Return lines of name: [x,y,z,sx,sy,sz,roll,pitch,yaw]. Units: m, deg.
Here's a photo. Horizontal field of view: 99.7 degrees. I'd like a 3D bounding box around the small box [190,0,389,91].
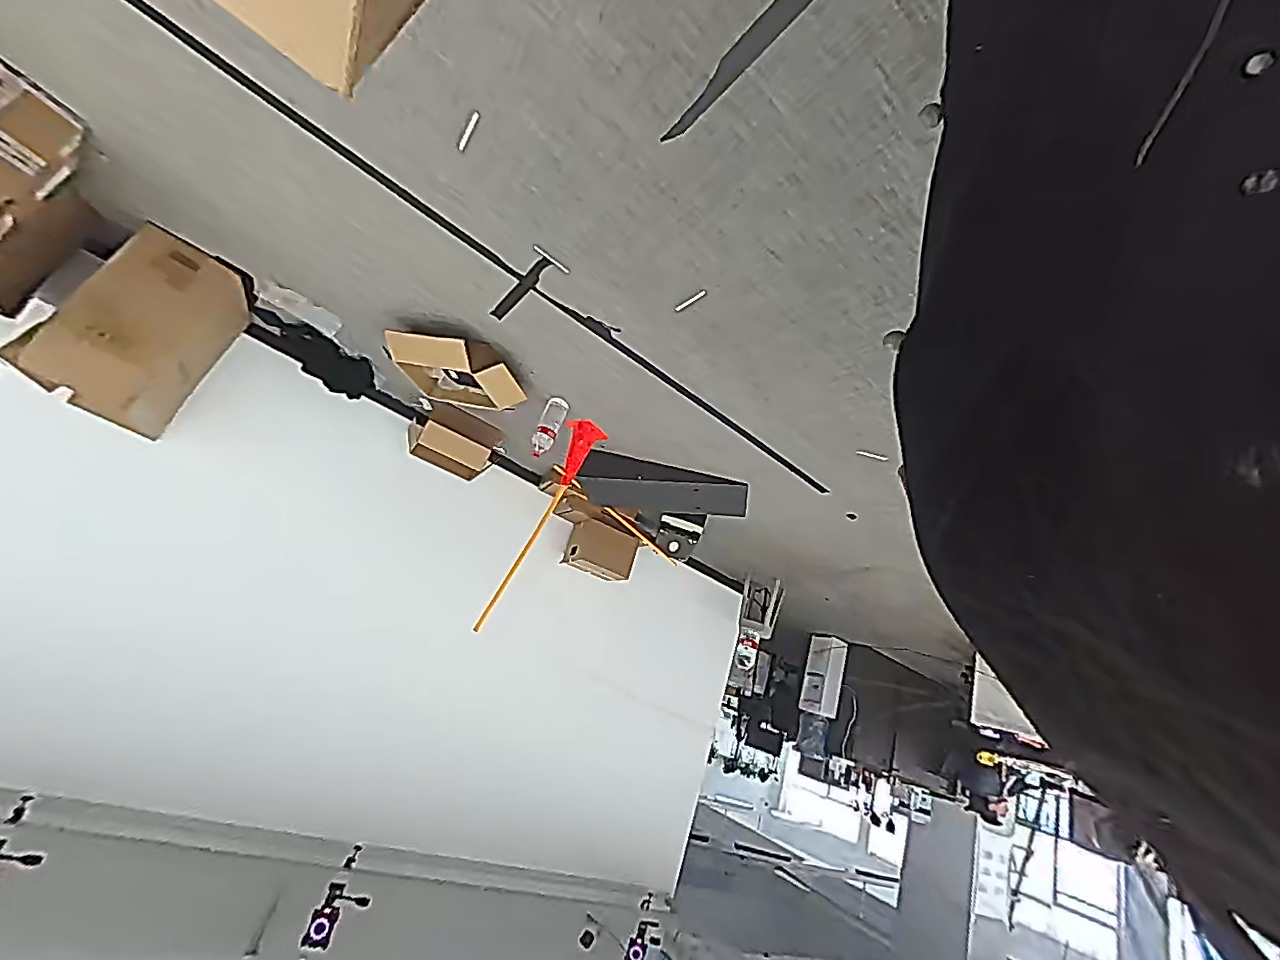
small box: [-0.096,-0.247,0.105,0.179,0.176,0.168,30,157,-26]
